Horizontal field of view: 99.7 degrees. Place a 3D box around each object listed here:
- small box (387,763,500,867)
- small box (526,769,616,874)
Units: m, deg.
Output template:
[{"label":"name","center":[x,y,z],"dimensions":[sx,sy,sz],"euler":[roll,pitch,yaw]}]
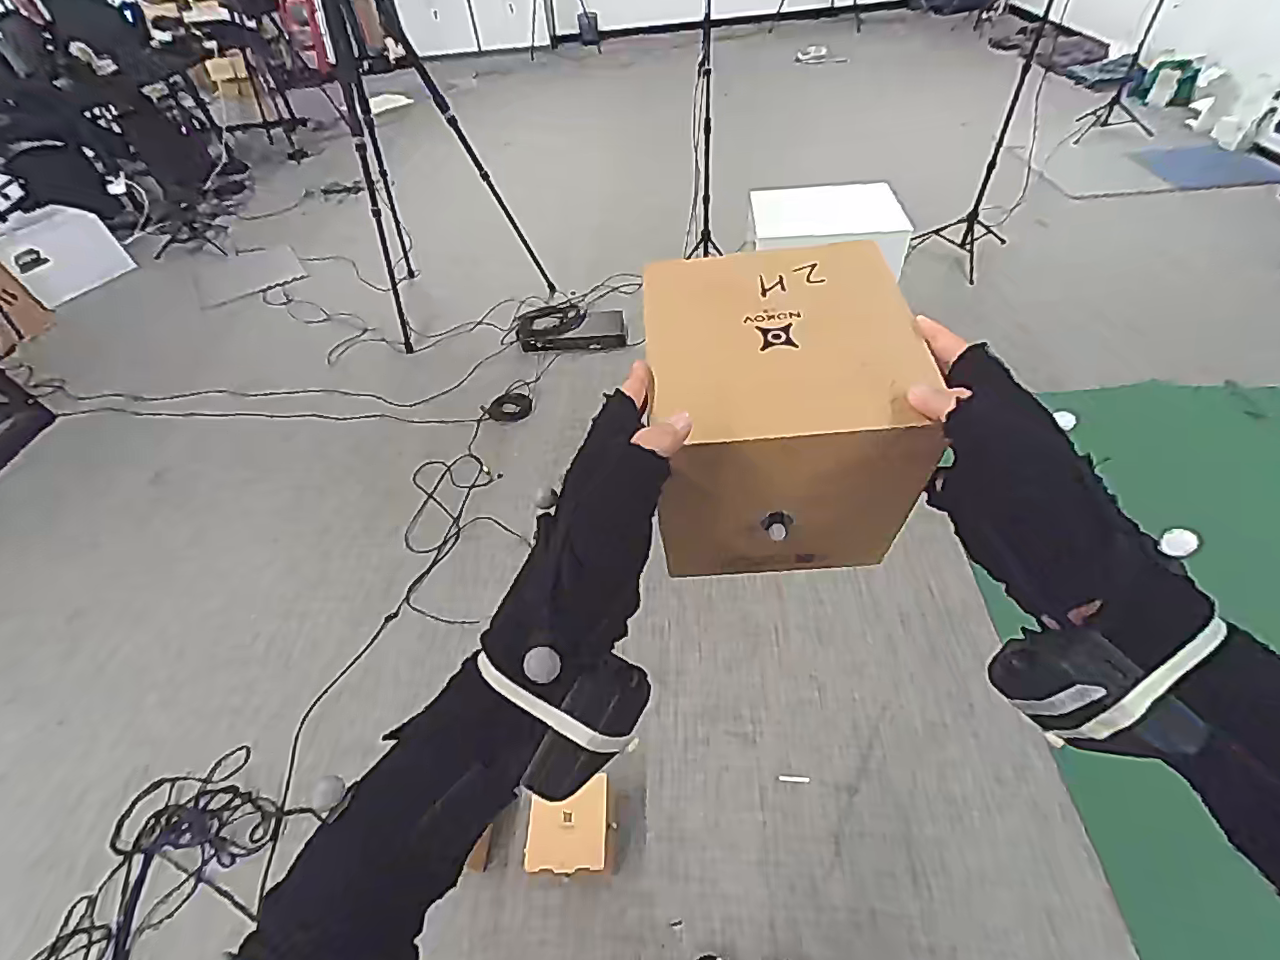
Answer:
[{"label":"small box","center":[-0.435,0.765,1.232],"dimensions":[0.168,0.176,0.179],"euler":[0,48,6]},{"label":"small box","center":[-0.145,0.763,1.205],"dimensions":[0.168,0.176,0.179],"euler":[-4,49,3]}]
